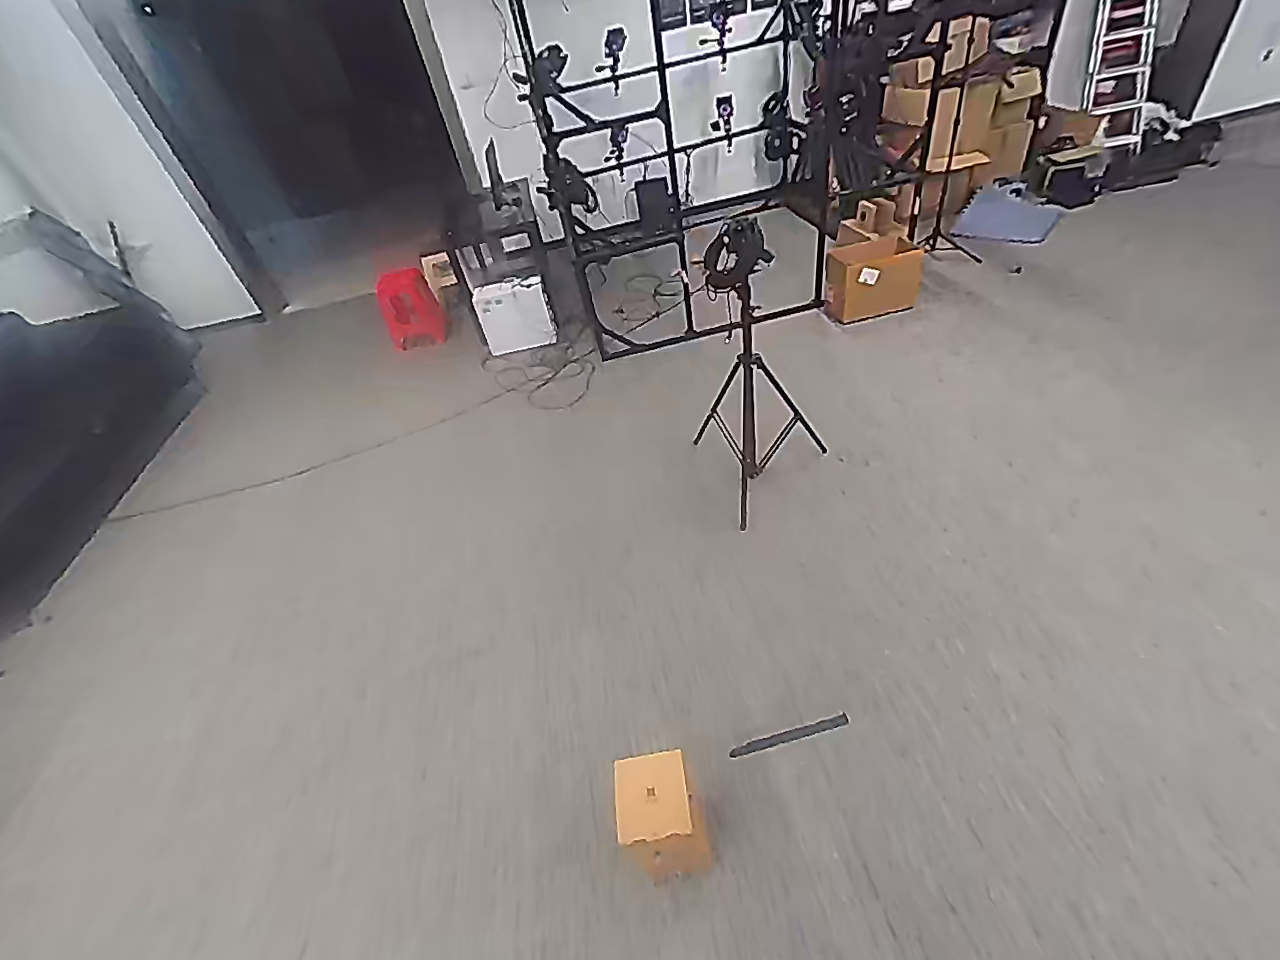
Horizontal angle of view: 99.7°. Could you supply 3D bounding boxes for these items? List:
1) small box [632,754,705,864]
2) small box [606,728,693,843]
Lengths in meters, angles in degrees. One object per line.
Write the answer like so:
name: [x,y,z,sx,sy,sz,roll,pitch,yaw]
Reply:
small box: [0.060,0.821,1.349,0.168,0.176,0.179,-13,41,1]
small box: [0.021,0.703,1.244,0.168,0.176,0.179,-12,43,3]
